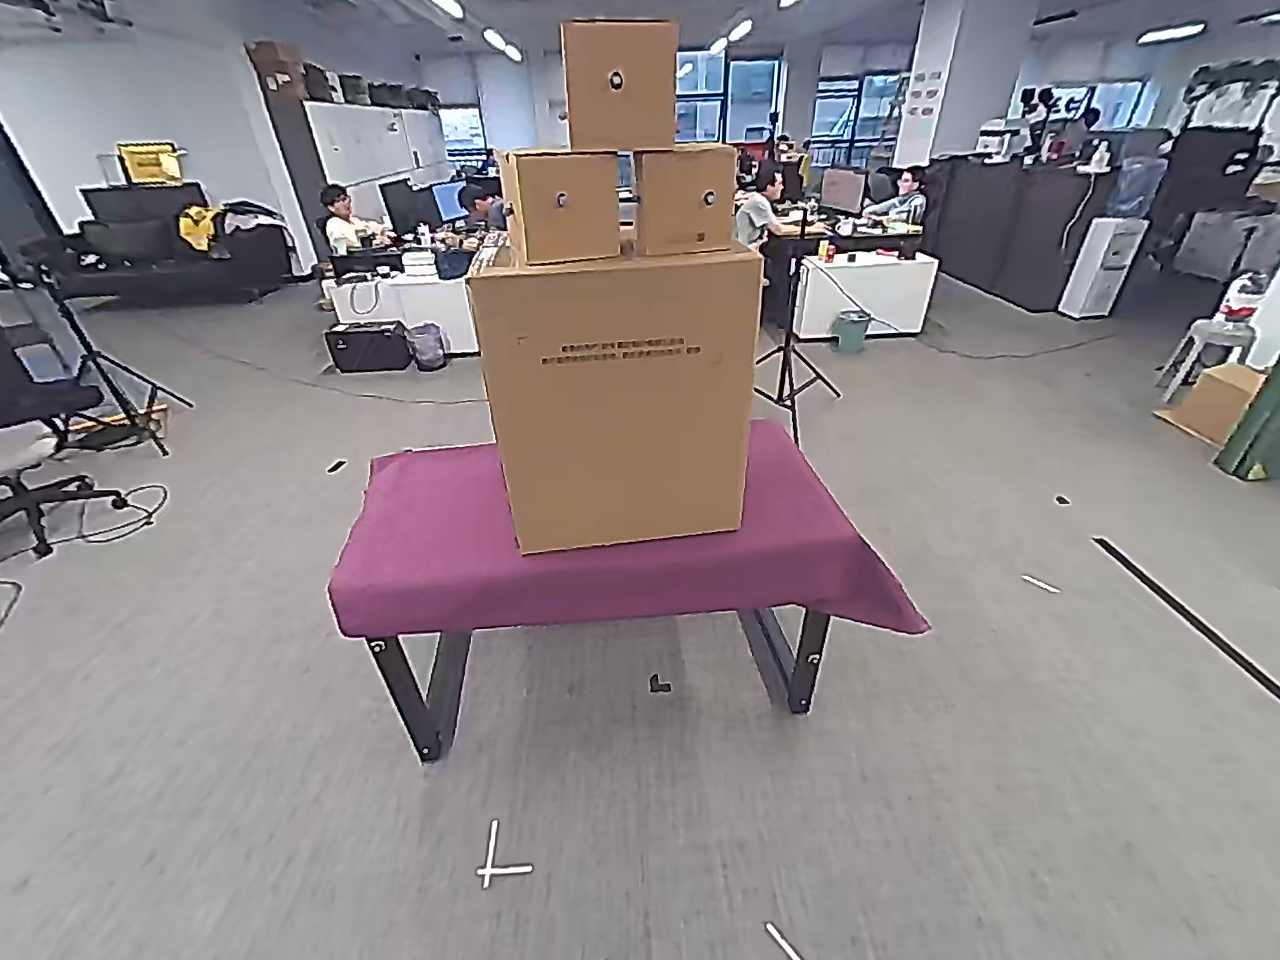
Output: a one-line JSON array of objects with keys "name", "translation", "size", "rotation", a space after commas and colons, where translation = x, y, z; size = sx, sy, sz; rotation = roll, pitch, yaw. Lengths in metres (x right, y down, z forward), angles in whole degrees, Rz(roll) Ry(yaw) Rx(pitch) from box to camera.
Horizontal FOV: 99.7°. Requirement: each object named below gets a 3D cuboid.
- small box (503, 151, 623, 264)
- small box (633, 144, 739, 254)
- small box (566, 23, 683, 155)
[{"name": "small box", "translation": [-0.138, -0.499, 0.987], "size": [0.179, 0.176, 0.168], "rotation": [-13, 36, -18]}, {"name": "small box", "translation": [0.082, -0.527, 1.019], "size": [0.168, 0.176, 0.179], "rotation": [-6, 33, -6]}, {"name": "small box", "translation": [-0.028, -0.648, 0.908], "size": [0.179, 0.176, 0.168], "rotation": [-4, 34, -4]}]
